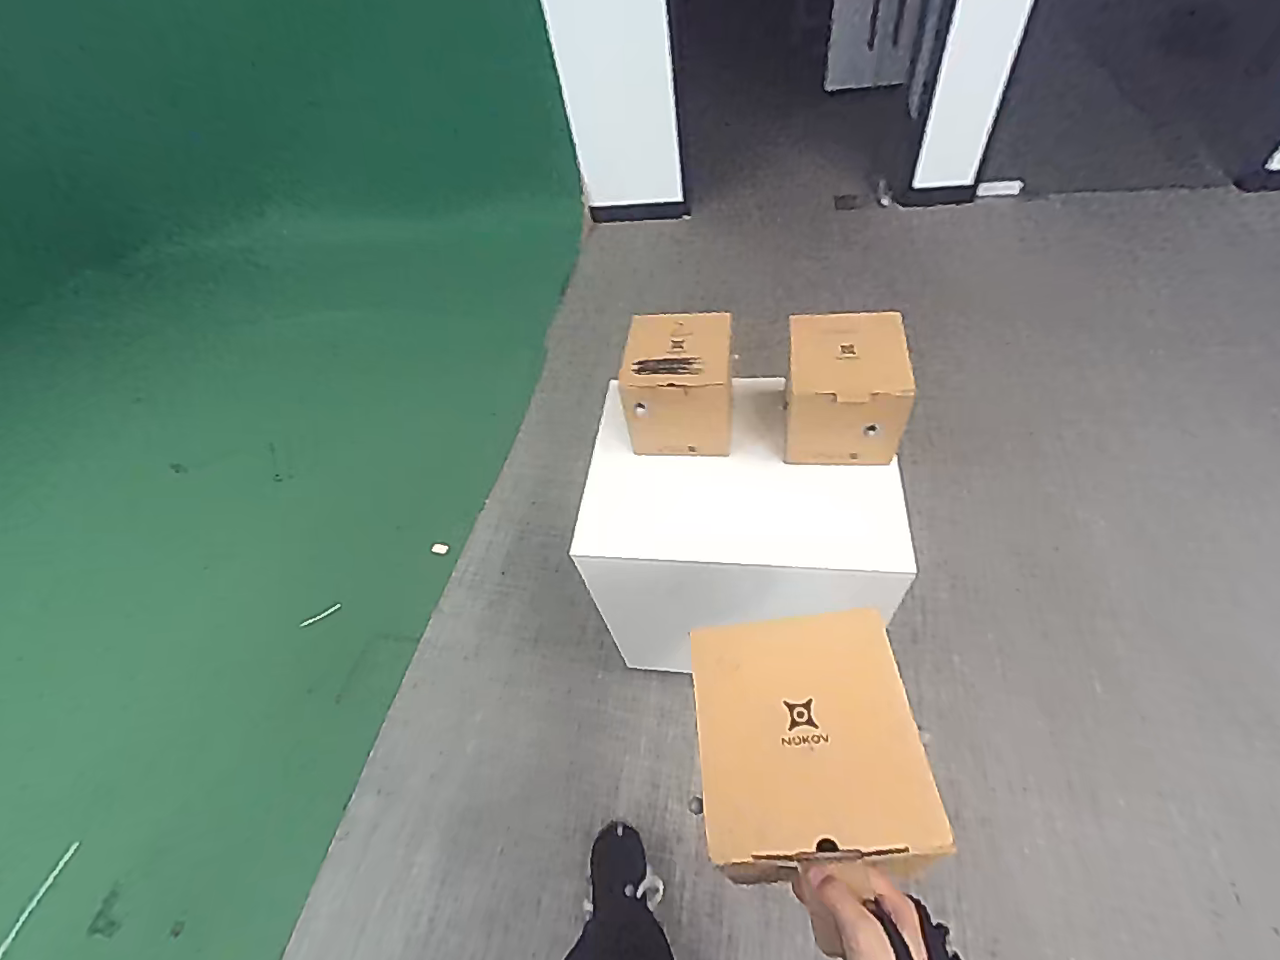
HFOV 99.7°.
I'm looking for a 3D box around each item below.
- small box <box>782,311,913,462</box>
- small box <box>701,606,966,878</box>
[{"bbox_3d":[0.317,-0.142,0.859,0.168,0.176,0.179,1,53,11],"label":"small box"},{"bbox_3d":[0.150,0.234,0.478,0.168,0.176,0.179,-9,49,9],"label":"small box"}]
